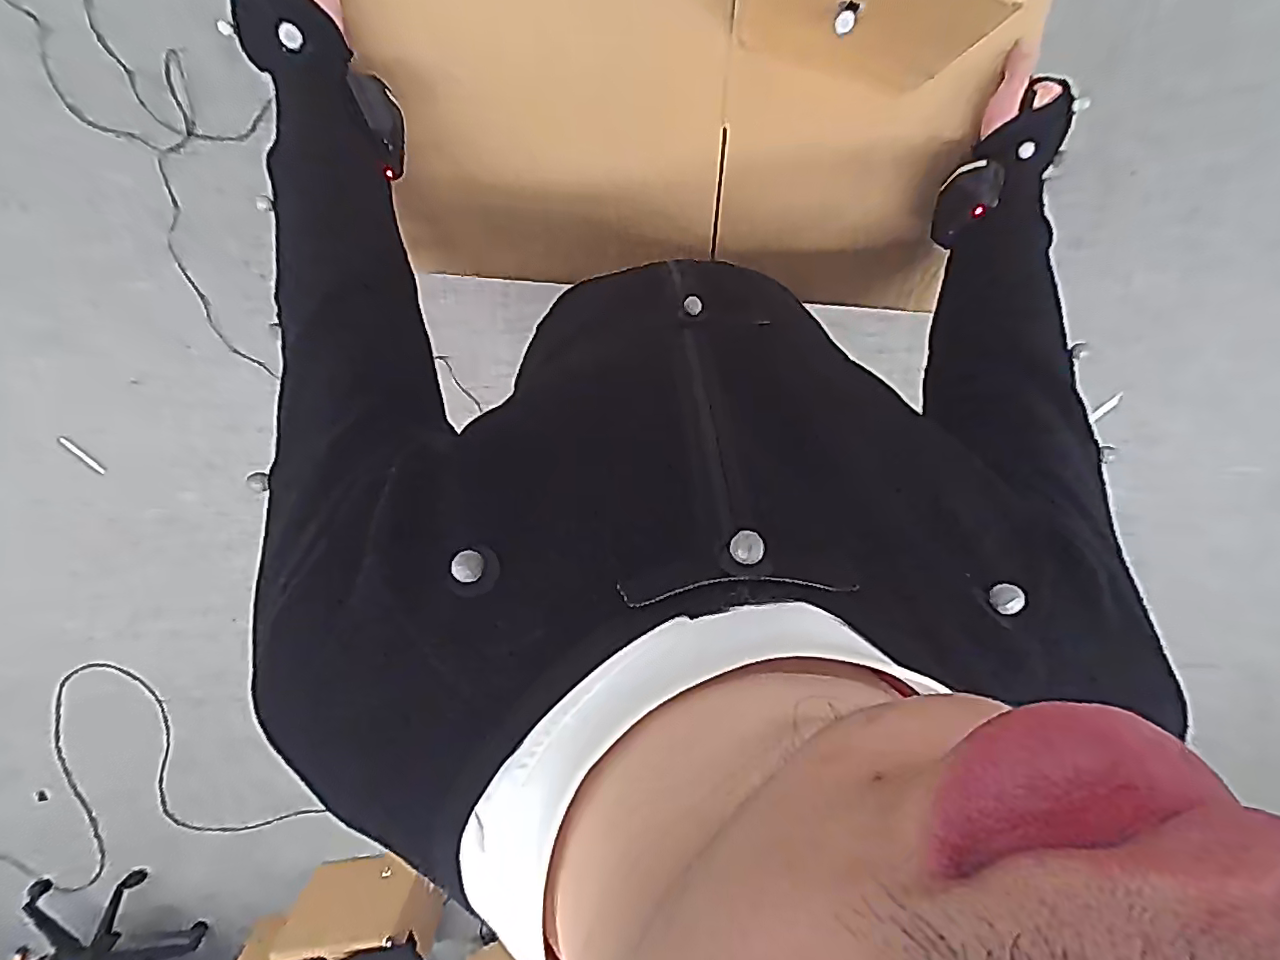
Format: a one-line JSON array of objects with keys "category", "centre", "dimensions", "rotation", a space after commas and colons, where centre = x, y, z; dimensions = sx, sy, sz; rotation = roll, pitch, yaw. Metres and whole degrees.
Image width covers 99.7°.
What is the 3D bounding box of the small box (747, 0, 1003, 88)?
[{"category": "small box", "centre": [0.199, -0.453, 0.429], "dimensions": [0.179, 0.176, 0.168], "rotation": [14, 106, -5]}]
